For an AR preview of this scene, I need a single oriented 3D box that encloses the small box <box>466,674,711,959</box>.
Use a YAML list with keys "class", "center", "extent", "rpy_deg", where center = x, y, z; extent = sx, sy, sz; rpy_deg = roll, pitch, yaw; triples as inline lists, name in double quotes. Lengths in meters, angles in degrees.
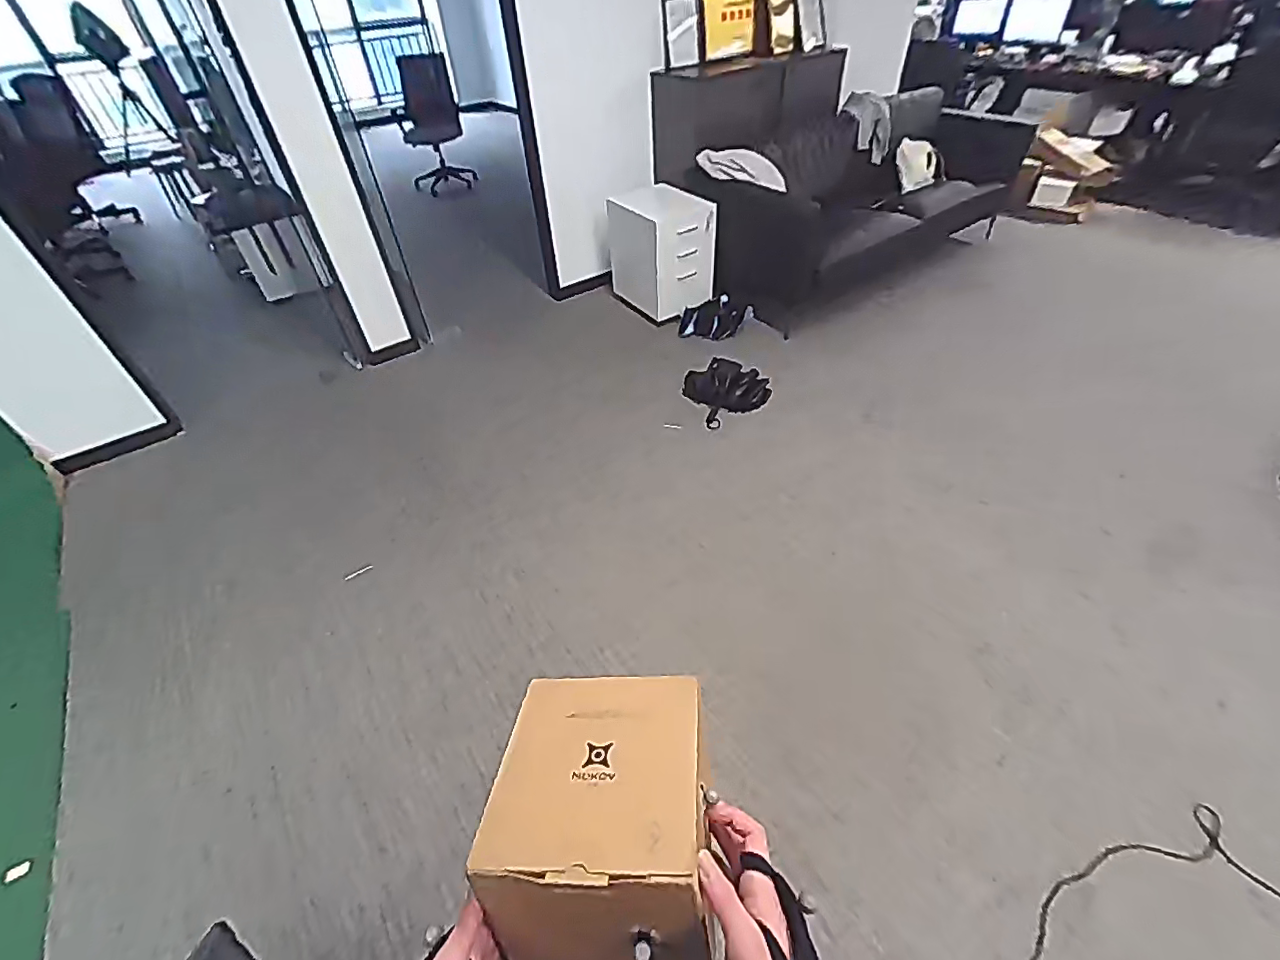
- class: "small box"
  center: [-0.026, 0.299, 0.479]
  extent: [0.168, 0.176, 0.179]
  rpy_deg: [-4, 26, 8]
